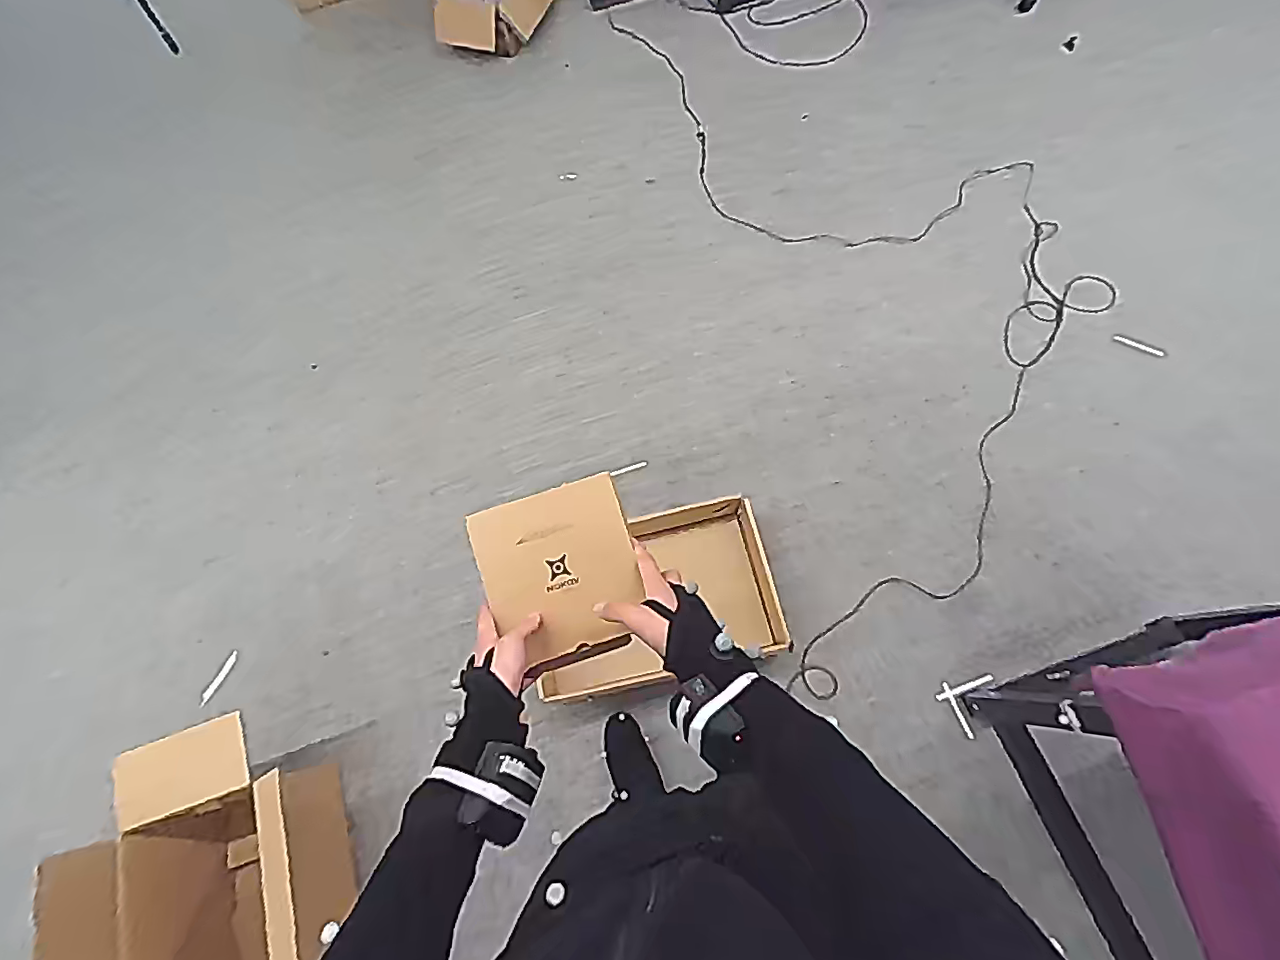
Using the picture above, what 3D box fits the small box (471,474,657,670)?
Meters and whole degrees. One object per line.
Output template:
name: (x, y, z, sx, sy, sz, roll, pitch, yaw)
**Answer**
small box: (-0.081, 0.103, 0.657, 0.168, 0.176, 0.179, -17, 85, -2)
